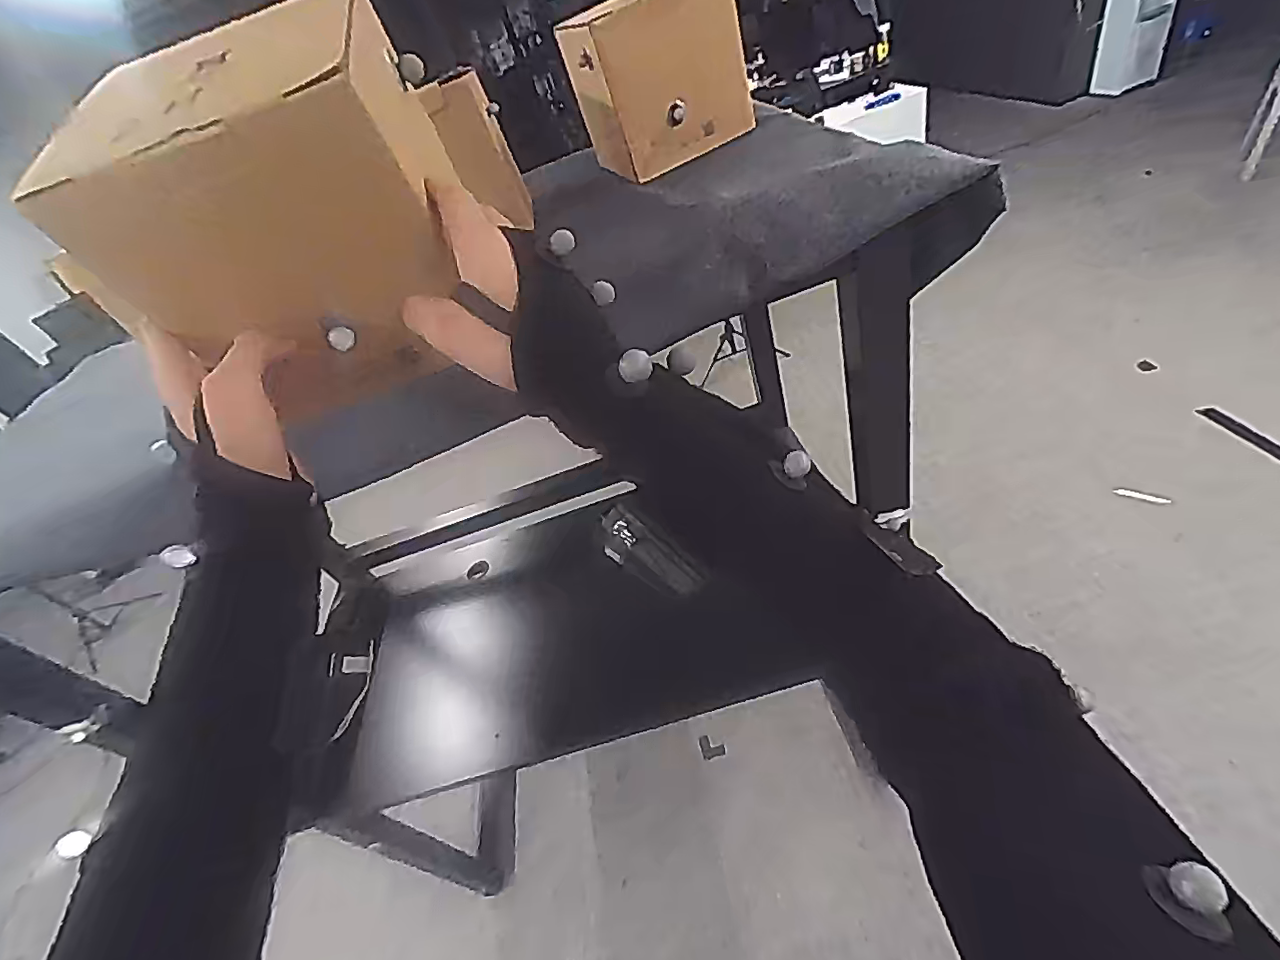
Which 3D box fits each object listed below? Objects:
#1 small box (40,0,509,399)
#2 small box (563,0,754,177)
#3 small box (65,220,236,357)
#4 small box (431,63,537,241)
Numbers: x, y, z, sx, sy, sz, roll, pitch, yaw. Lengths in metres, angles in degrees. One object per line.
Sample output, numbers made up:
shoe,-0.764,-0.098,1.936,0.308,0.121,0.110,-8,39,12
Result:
small box,-0.203,-0.186,0.359,0.168,0.176,0.179,-20,55,2
small box,0.024,-0.510,0.684,0.168,0.176,0.179,-27,42,-2
small box,-0.600,-0.300,0.754,0.168,0.176,0.179,-16,41,9
small box,-0.241,-0.402,0.696,0.168,0.176,0.179,-20,40,4
